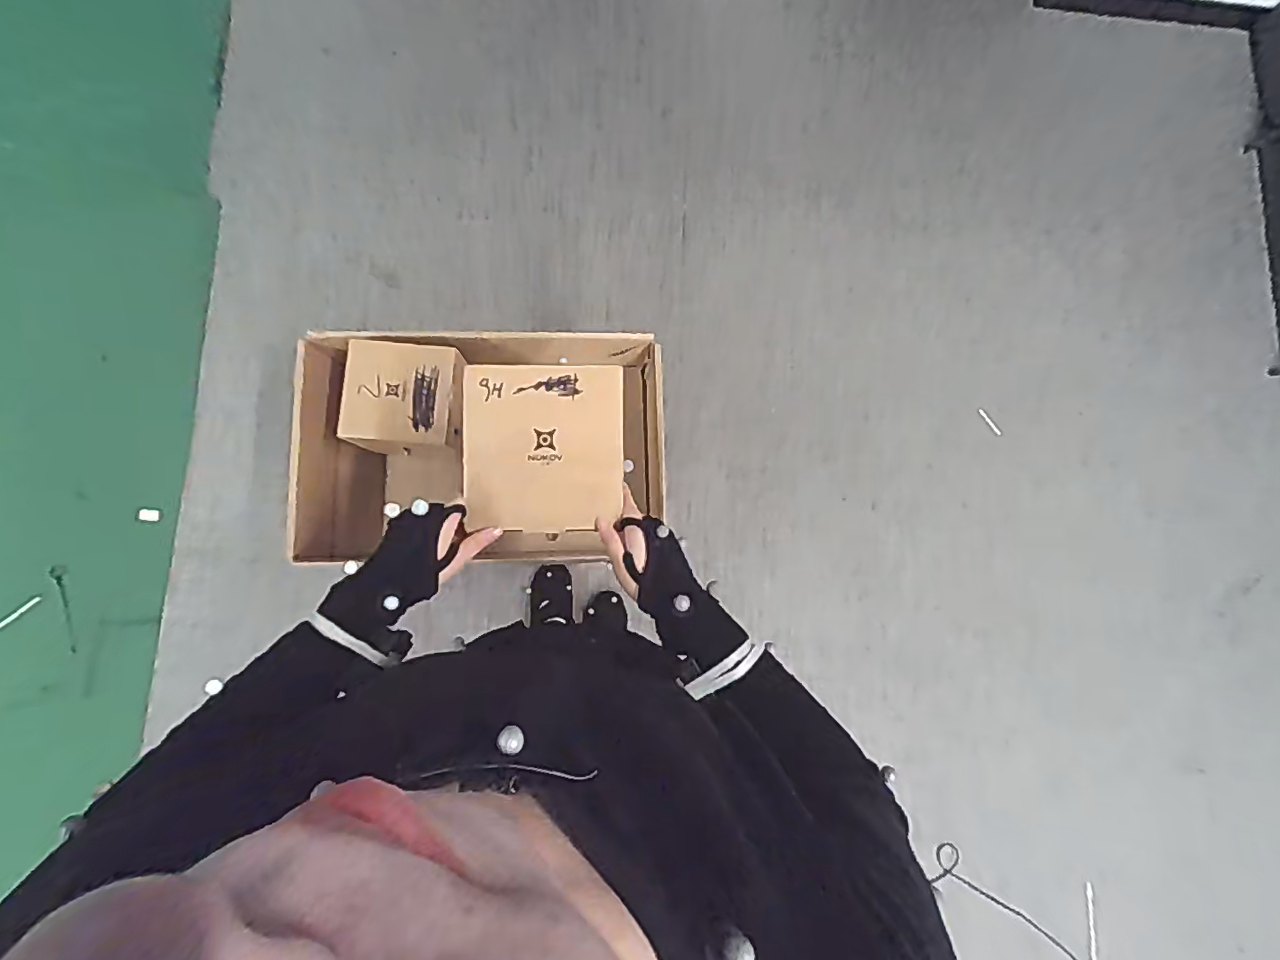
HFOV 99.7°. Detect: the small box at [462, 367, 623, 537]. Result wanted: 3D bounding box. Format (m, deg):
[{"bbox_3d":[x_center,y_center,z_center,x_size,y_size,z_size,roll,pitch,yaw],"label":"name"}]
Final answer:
[{"bbox_3d":[-0.105,-0.028,0.640,0.168,0.176,0.179,1,88,-4],"label":"small box"}]
